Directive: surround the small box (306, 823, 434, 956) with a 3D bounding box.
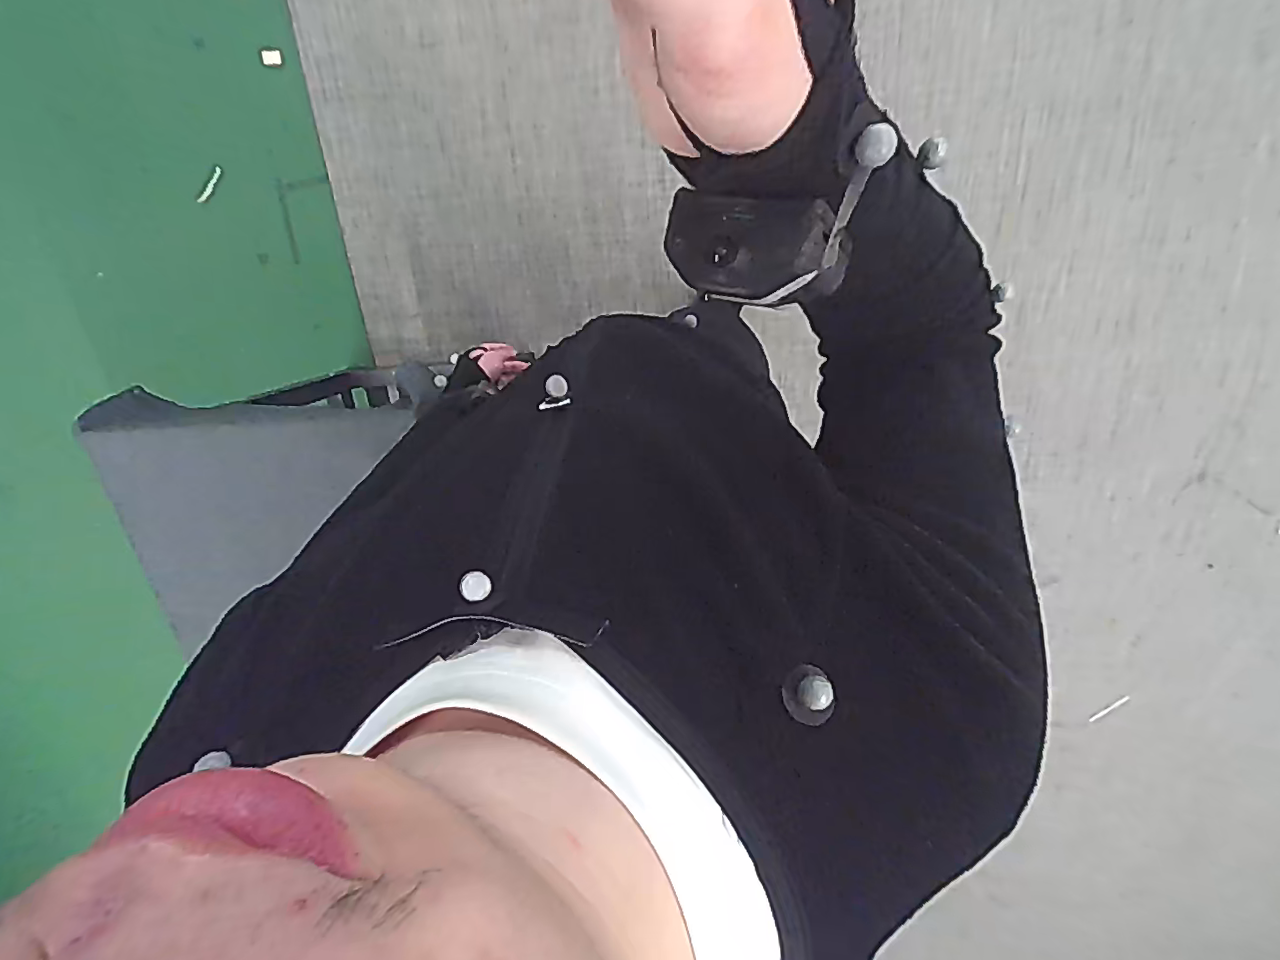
[{"bbox_3d":[-0.573,0.878,1.171,0.168,0.176,0.179,-3,110,7],"label":"small box"}]
